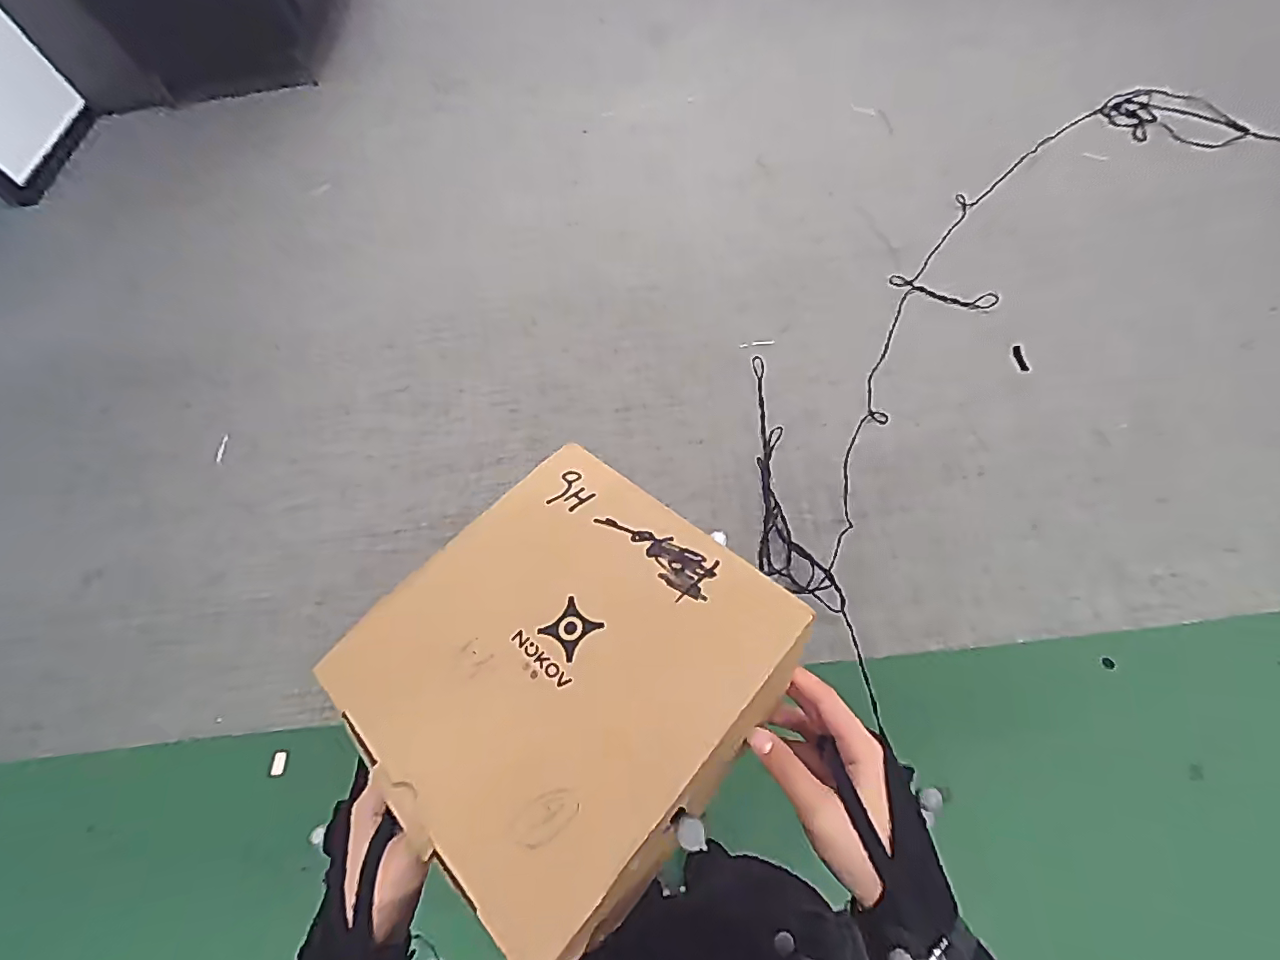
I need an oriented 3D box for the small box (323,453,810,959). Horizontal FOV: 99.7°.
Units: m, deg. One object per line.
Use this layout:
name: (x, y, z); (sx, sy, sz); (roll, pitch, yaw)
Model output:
small box: (-0.026, 0.125, 0.313); (0.168, 0.176, 0.179); (35, 67, 28)
